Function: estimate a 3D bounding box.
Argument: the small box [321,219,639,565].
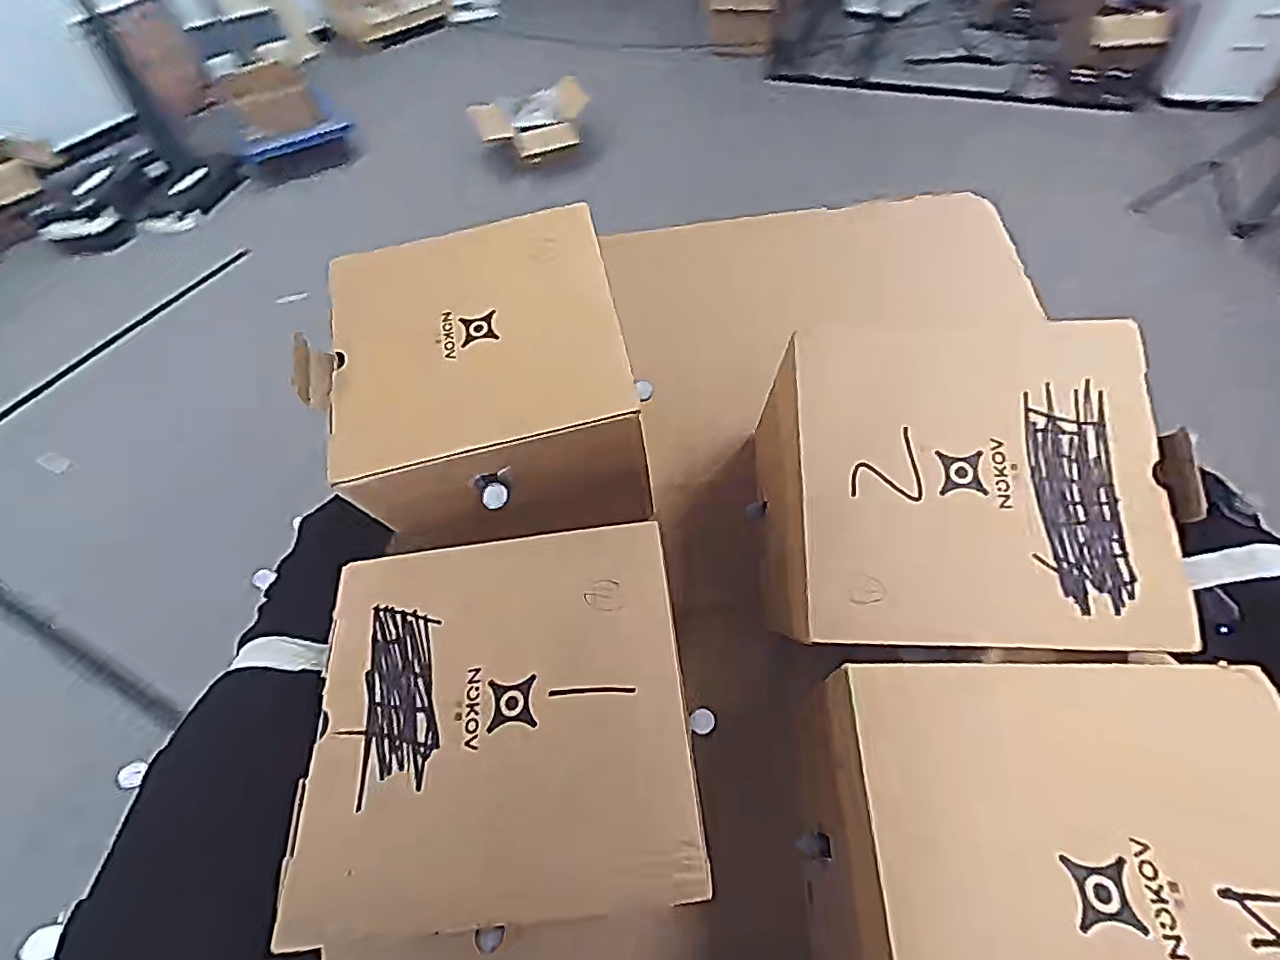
[{"bbox_3d":[-0.102,-0.051,0.402,0.179,0.176,0.168,-15,65,-1],"label":"small box"}]
